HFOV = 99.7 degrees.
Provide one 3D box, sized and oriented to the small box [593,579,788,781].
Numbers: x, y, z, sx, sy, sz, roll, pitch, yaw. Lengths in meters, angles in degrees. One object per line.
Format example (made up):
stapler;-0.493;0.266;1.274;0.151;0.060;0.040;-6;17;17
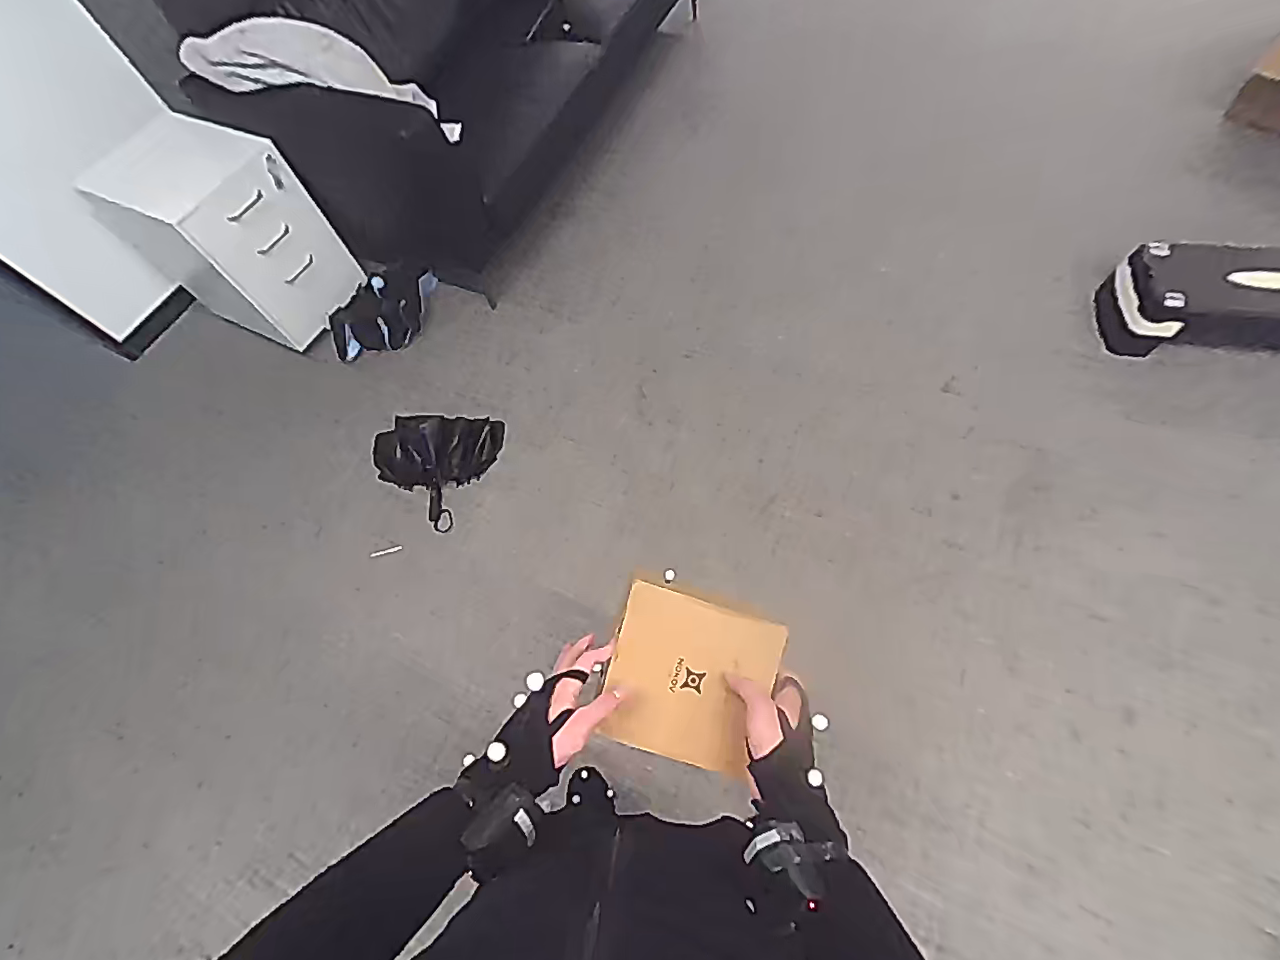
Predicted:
small box;0.052;0.223;0.653;0.179;0.176;0.168;15;86;-1
